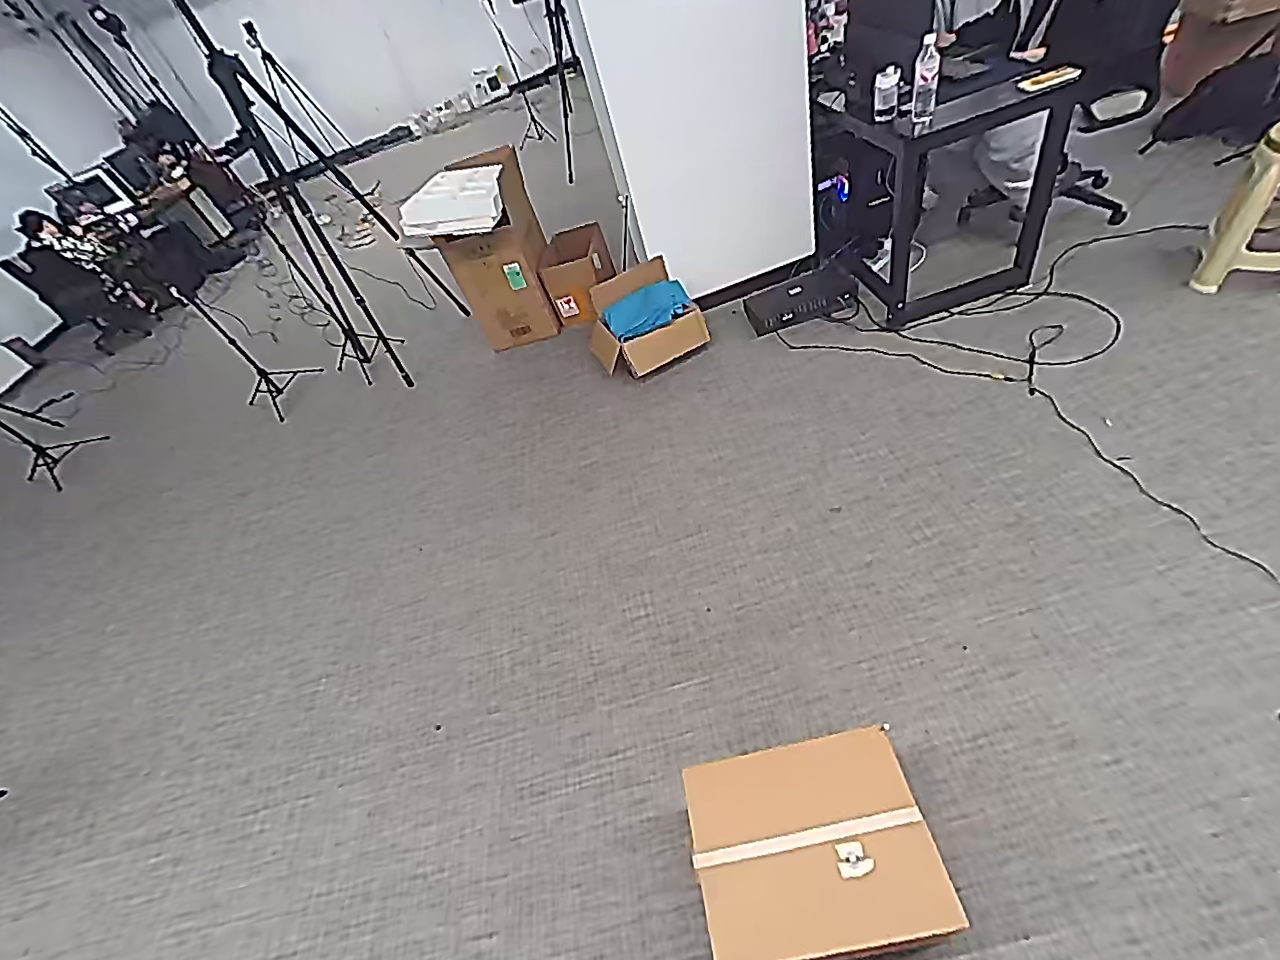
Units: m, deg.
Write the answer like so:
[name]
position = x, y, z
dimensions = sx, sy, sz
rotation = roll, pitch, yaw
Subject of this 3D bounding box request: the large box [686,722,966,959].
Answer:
[large box]
position = 0.339, 0.732, 1.067
dimensions = 0.408, 0.320, 0.320
rotation = -16, 45, 5
